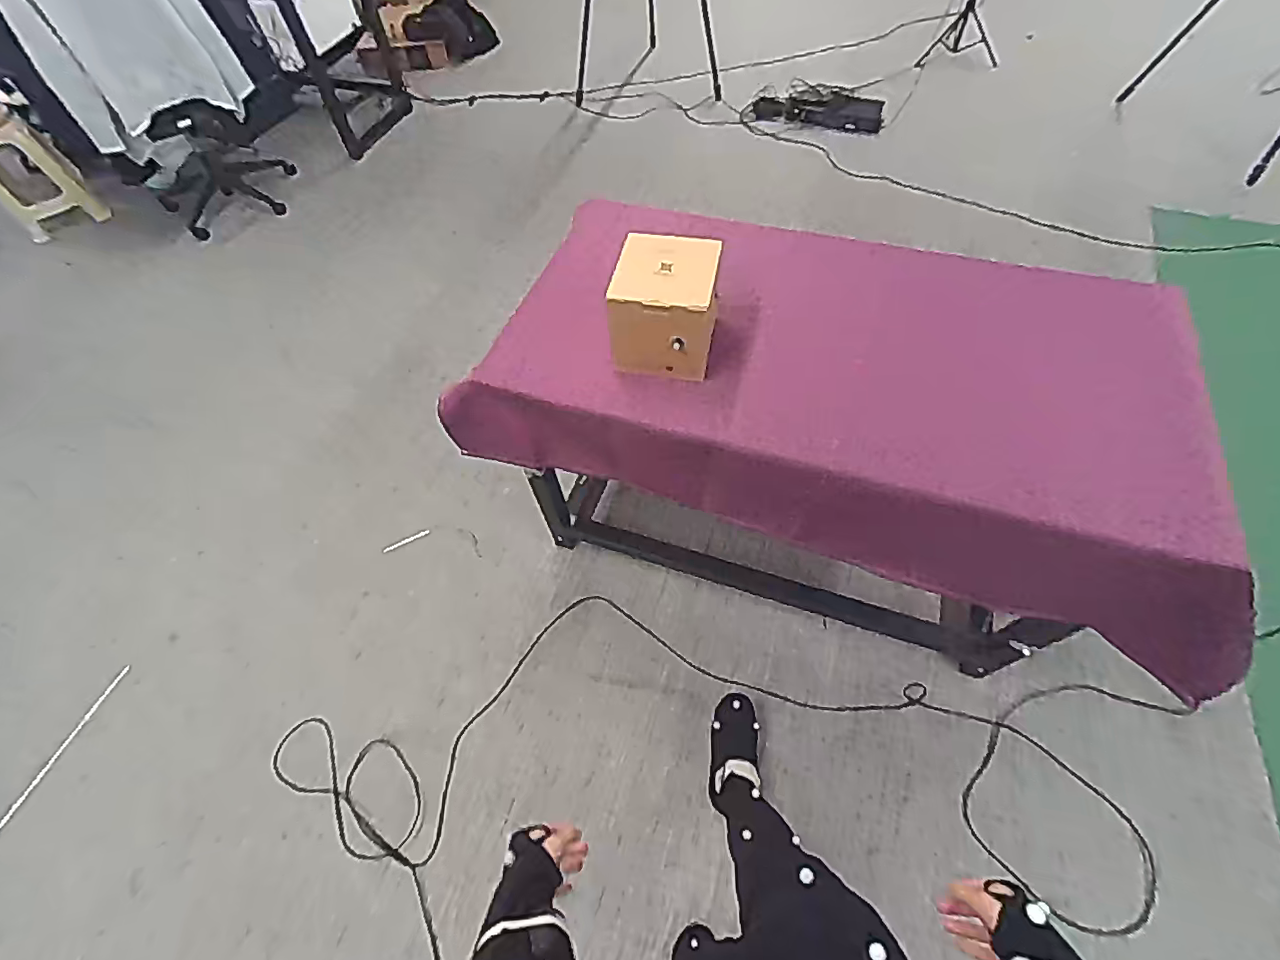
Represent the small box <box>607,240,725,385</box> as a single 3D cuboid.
[{"bbox_3d":[0.050,-0.291,0.951,0.168,0.176,0.179,10,58,9],"label":"small box"}]
